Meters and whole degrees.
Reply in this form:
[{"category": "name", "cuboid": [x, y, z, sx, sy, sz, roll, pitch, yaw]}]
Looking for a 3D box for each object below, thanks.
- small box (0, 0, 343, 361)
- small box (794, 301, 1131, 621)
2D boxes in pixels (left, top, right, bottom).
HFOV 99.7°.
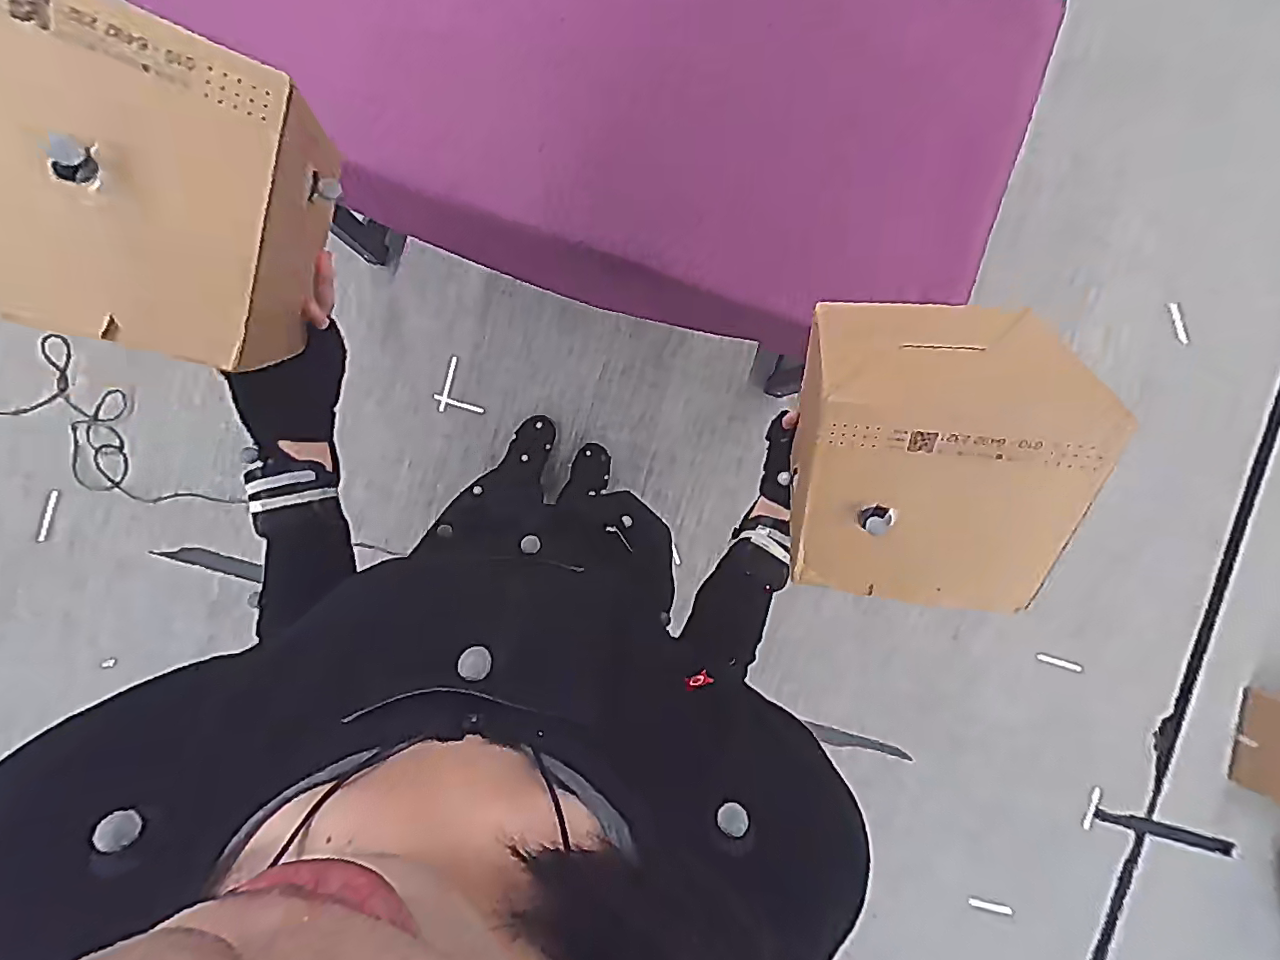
[{"category": "small box", "cuboid": [-0.306, -0.186, 0.341, 0.168, 0.179, 0.176, 16, 100, -23]}, {"category": "small box", "cuboid": [0.212, -0.026, 0.408, 0.168, 0.179, 0.176, 8, 128, 11]}]
